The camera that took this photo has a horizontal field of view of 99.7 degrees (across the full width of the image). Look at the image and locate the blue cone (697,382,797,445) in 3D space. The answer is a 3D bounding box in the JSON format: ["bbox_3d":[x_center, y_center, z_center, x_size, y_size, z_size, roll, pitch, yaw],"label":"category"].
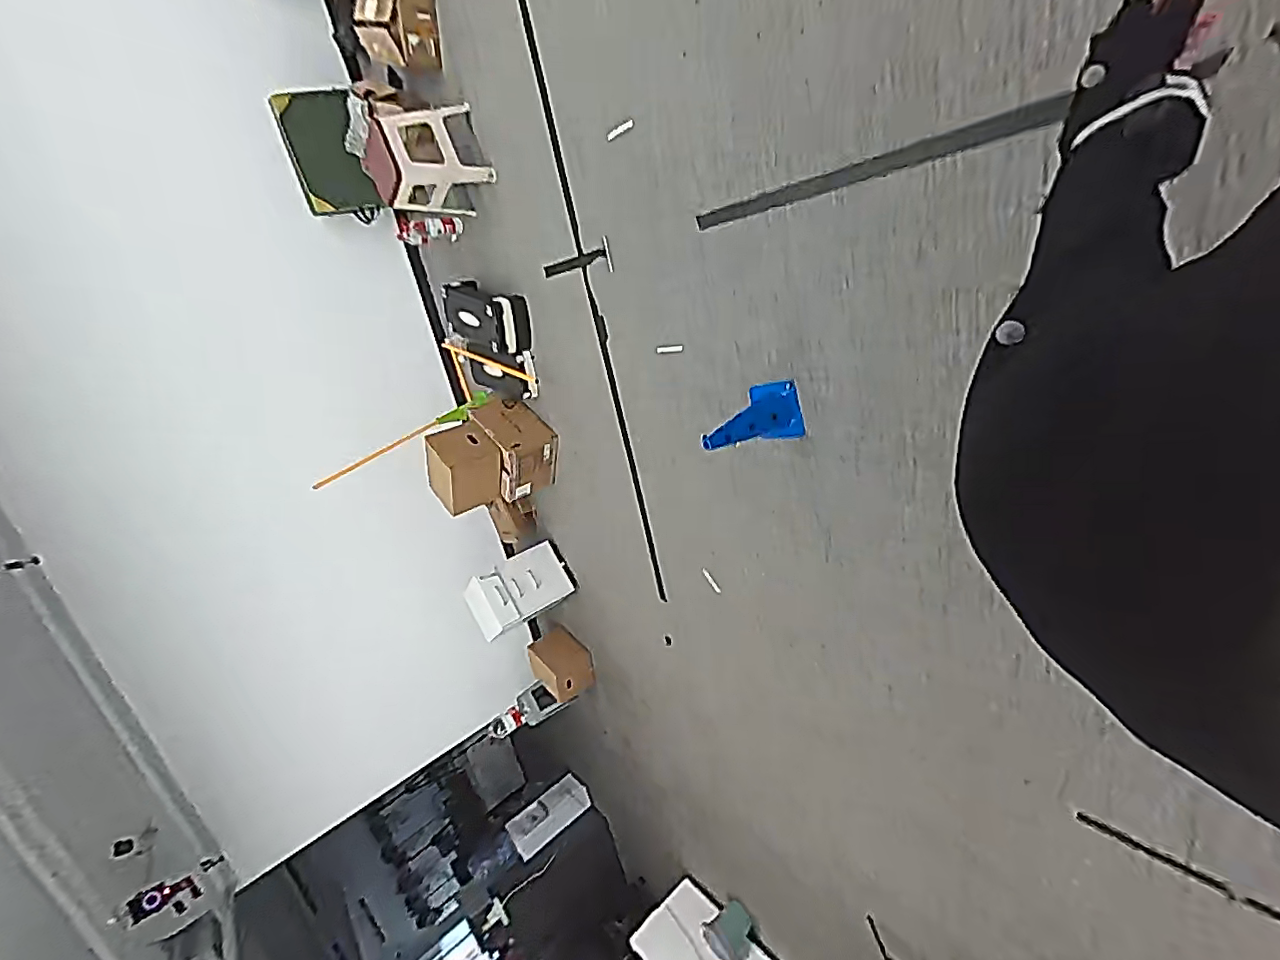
[{"bbox_3d":[0.332,-0.182,1.780,0.193,0.380,0.192,5,114,53],"label":"blue cone"}]
